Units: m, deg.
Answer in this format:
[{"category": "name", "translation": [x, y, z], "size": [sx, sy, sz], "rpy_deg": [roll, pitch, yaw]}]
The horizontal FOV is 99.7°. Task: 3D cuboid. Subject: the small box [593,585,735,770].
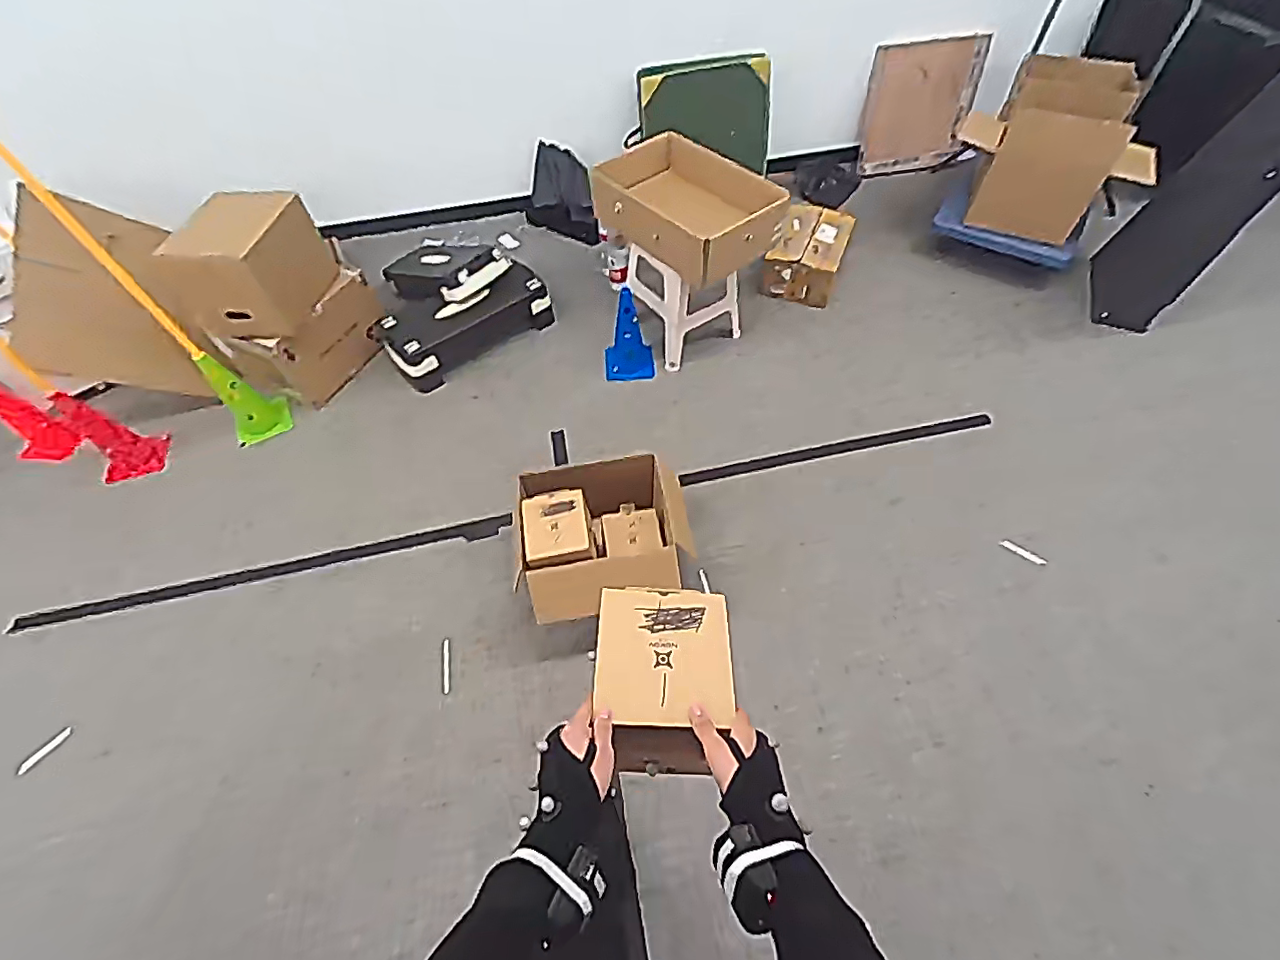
[{"category": "small box", "translation": [0.025, 0.264, 0.724], "size": [0.168, 0.176, 0.179], "rpy_deg": [3, 46, -1]}]
